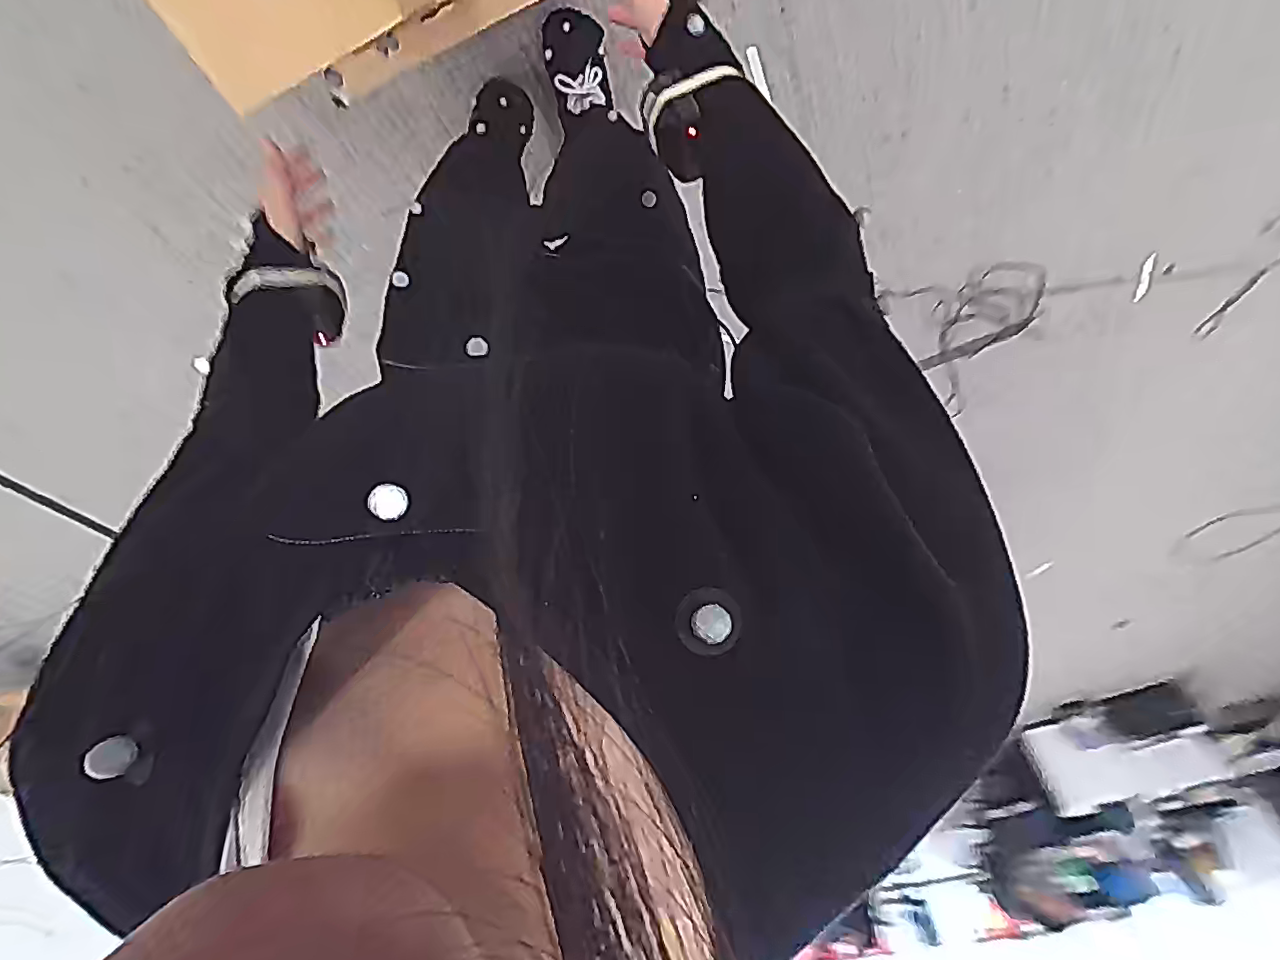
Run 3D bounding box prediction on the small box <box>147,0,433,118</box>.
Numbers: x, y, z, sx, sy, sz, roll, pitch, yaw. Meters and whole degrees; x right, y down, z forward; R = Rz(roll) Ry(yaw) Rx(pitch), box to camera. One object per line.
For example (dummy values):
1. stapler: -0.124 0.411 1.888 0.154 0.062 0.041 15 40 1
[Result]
1. small box: -0.292 -0.435 0.428 0.168 0.176 0.179 -20 134 12
